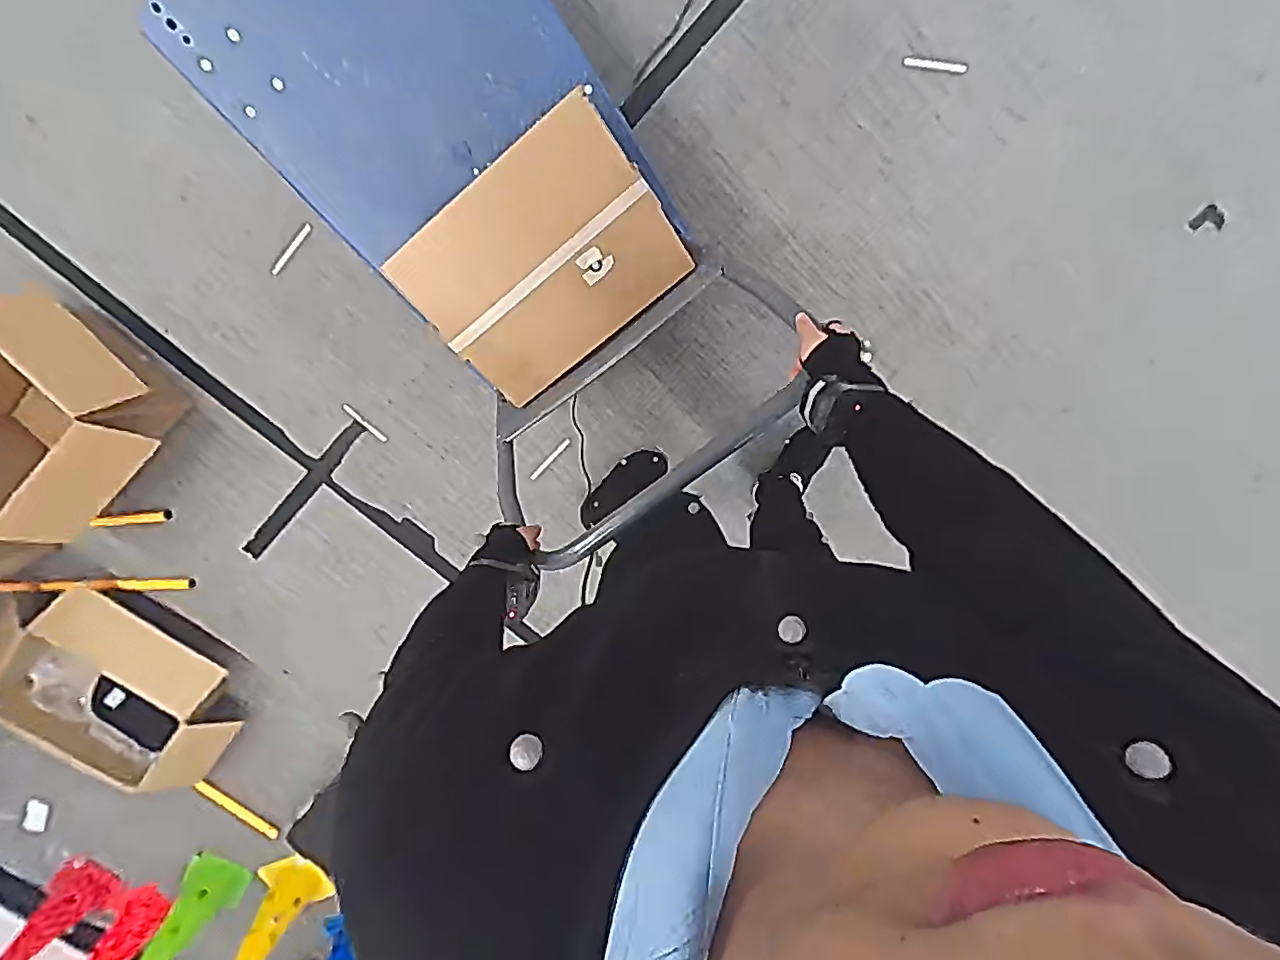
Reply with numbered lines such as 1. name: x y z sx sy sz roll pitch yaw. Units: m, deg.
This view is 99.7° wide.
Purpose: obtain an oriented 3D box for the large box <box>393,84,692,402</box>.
1. large box: -0.180 -0.427 1.015 0.408 0.320 0.320 -38 121 9
